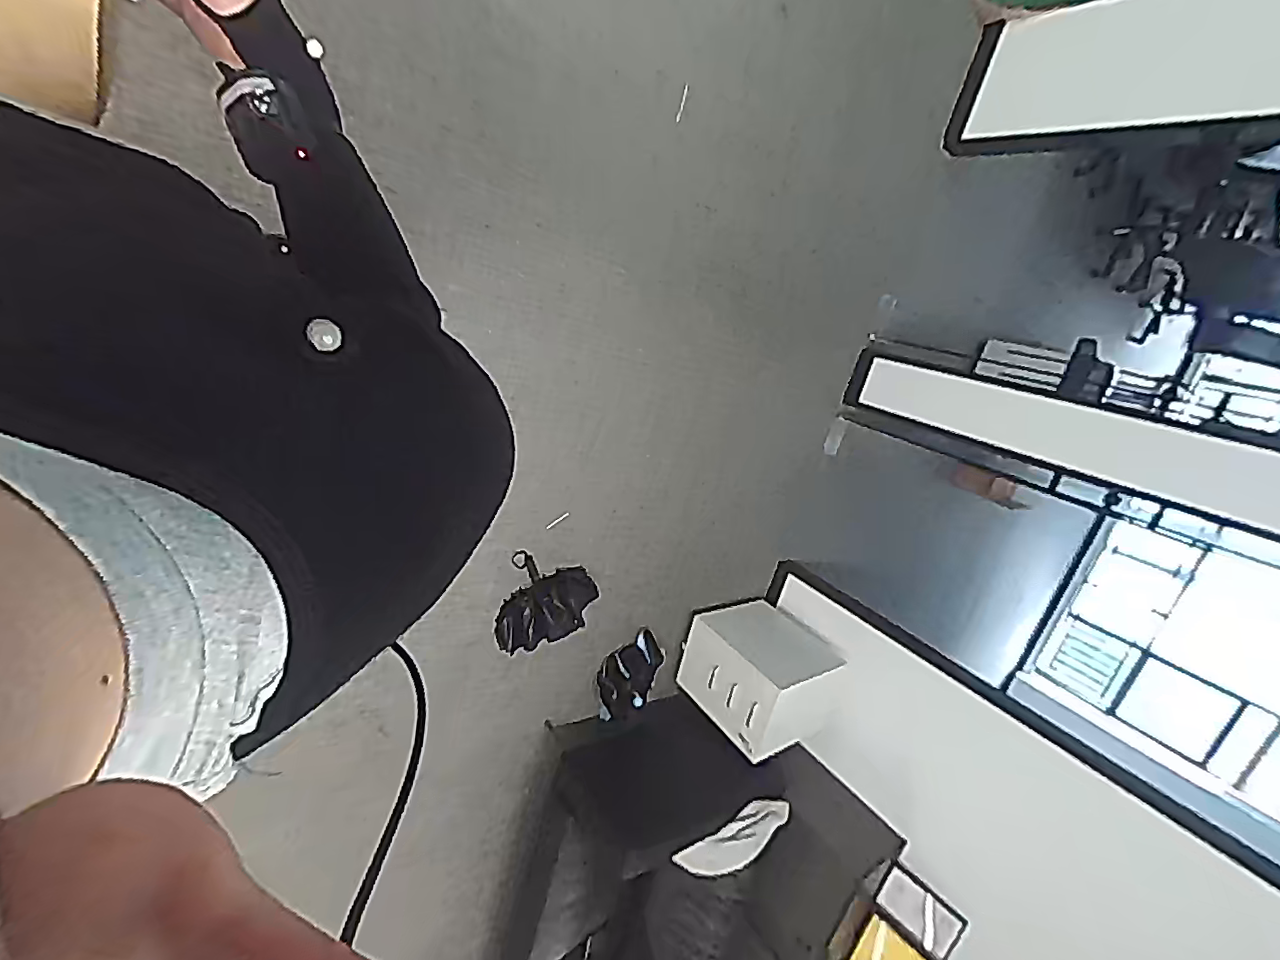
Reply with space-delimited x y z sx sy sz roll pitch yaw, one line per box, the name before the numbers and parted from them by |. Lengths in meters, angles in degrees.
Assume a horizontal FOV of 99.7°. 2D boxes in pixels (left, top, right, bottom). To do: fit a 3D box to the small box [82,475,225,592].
small box | -1.092 0.116 1.231 0.168 0.176 0.179 -44 131 -14
